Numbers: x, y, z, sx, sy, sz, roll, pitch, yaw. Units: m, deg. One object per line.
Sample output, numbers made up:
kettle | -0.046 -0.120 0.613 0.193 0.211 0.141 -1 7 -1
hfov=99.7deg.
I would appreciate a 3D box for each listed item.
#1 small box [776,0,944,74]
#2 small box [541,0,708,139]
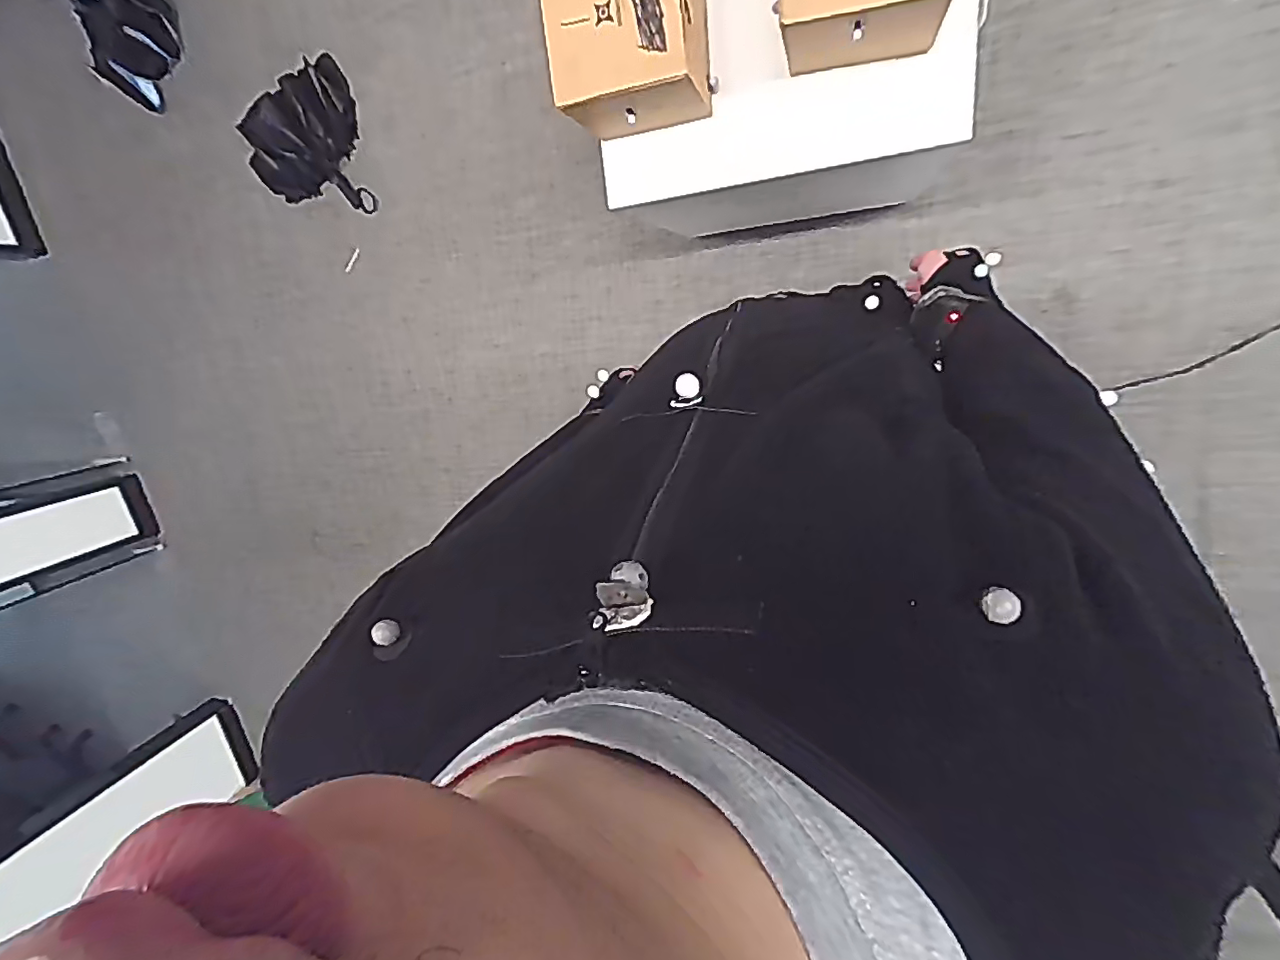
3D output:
small box | 0.254 -0.594 0.613 0.179 0.176 0.168 3 111 18
small box | -0.010 -0.573 0.709 0.179 0.176 0.168 0 108 20
